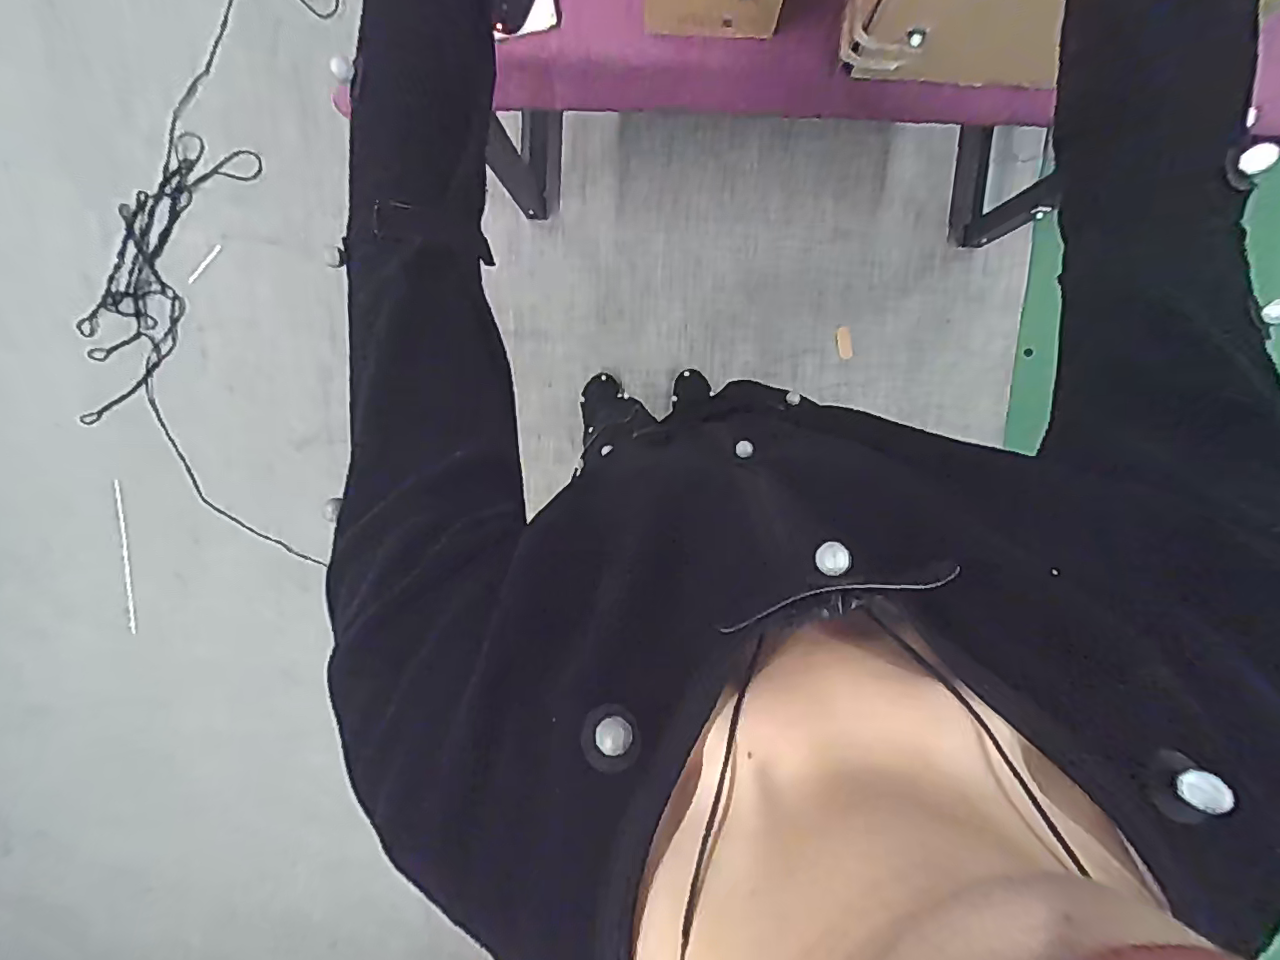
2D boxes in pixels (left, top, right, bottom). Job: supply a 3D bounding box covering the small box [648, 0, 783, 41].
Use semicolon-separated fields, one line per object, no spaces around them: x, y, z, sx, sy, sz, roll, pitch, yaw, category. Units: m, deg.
0.094;-0.645;0.611;0.168;0.176;0.179;5;96;2;small box
